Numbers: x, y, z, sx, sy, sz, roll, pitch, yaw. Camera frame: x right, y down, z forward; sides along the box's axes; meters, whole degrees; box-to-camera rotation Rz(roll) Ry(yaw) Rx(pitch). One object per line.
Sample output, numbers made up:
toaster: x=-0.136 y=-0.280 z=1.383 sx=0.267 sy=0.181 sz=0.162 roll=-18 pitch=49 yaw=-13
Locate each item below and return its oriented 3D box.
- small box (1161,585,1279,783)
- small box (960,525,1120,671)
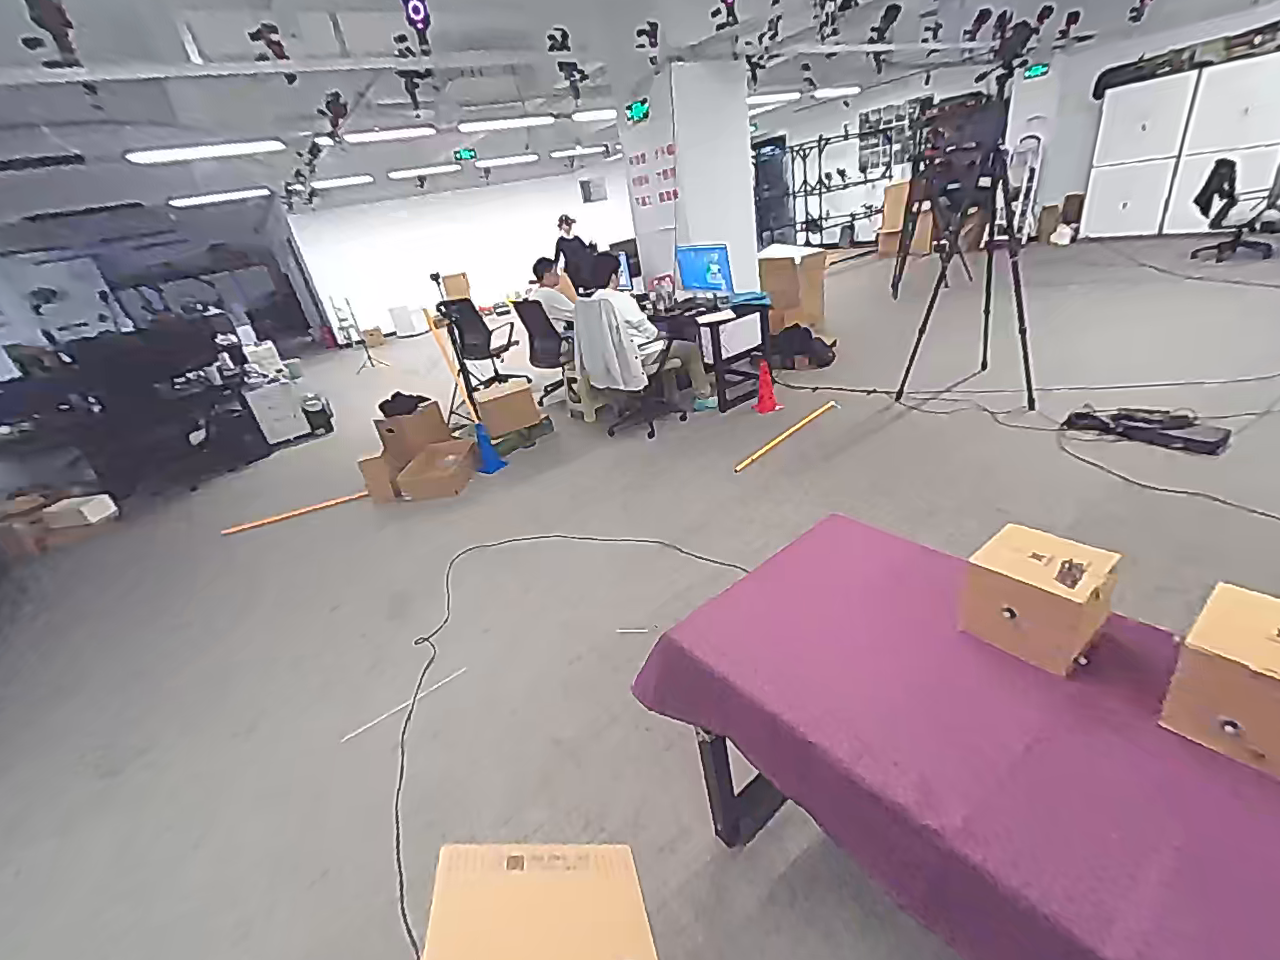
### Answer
small box: x=0.879 y=0.286 z=0.759 sx=0.179 sy=0.176 sz=0.168 roll=-28 pitch=30 yaw=-28
small box: x=0.708 y=0.212 z=0.971 sx=0.168 sy=0.176 sz=0.179 roll=-26 pitch=29 yaw=-27
